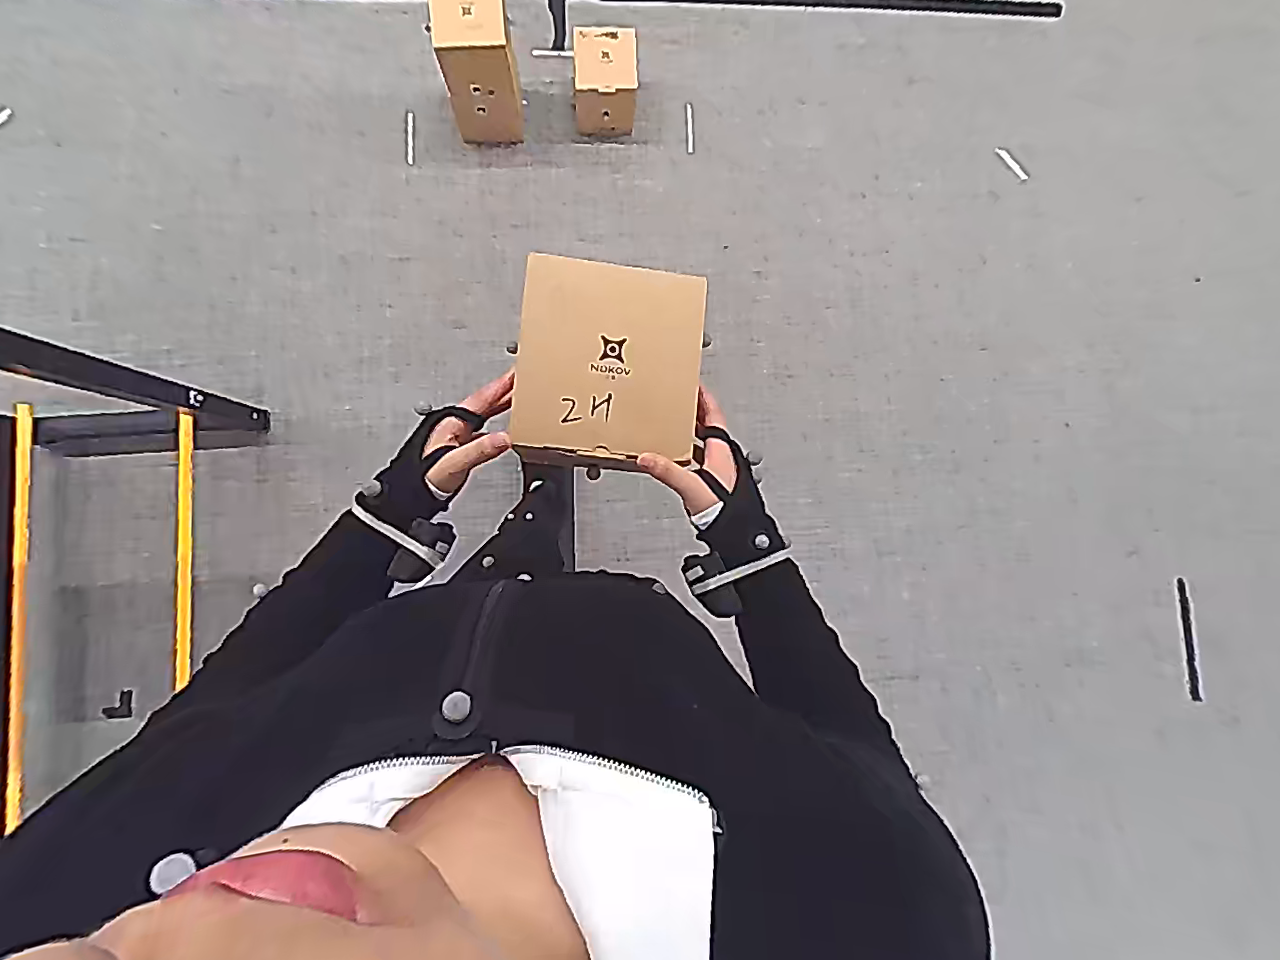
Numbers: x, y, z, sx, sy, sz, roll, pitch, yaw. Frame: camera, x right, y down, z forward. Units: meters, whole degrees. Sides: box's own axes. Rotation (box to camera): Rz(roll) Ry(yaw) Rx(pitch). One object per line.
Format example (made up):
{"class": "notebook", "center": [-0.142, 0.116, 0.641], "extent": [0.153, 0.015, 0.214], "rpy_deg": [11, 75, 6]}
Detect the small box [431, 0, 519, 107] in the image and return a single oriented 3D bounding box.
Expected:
{"class": "small box", "center": [-0.395, -1.051, 1.311], "extent": [0.168, 0.176, 0.179], "rpy_deg": [-6, 88, -3]}

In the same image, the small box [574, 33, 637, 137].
{"class": "small box", "center": [-0.096, -1.089, 1.503], "extent": [0.168, 0.176, 0.179], "rpy_deg": [-2, 87, -5]}

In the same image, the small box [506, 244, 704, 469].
{"class": "small box", "center": [-0.039, -0.111, 0.562], "extent": [0.168, 0.176, 0.179], "rpy_deg": [6, 86, -6]}

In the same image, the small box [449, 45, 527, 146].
{"class": "small box", "center": [-0.412, -1.042, 1.472], "extent": [0.179, 0.176, 0.168], "rpy_deg": [-4, 86, -5]}
